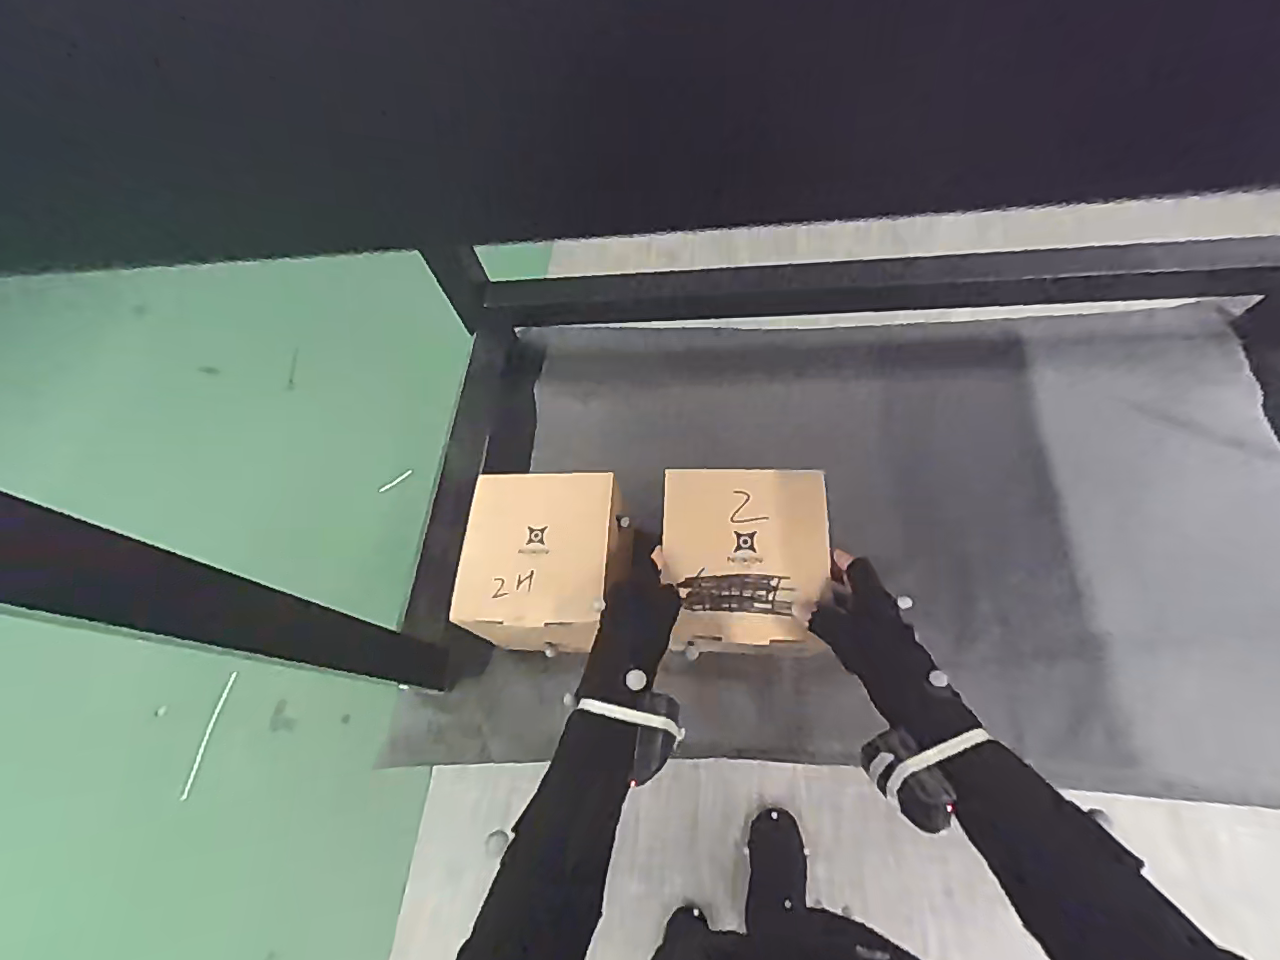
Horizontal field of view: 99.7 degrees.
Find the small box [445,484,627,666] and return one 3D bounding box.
[{"bbox_3d":[-0.110,0.119,0.662,0.168,0.176,0.179,-1,62,8],"label":"small box"}]
